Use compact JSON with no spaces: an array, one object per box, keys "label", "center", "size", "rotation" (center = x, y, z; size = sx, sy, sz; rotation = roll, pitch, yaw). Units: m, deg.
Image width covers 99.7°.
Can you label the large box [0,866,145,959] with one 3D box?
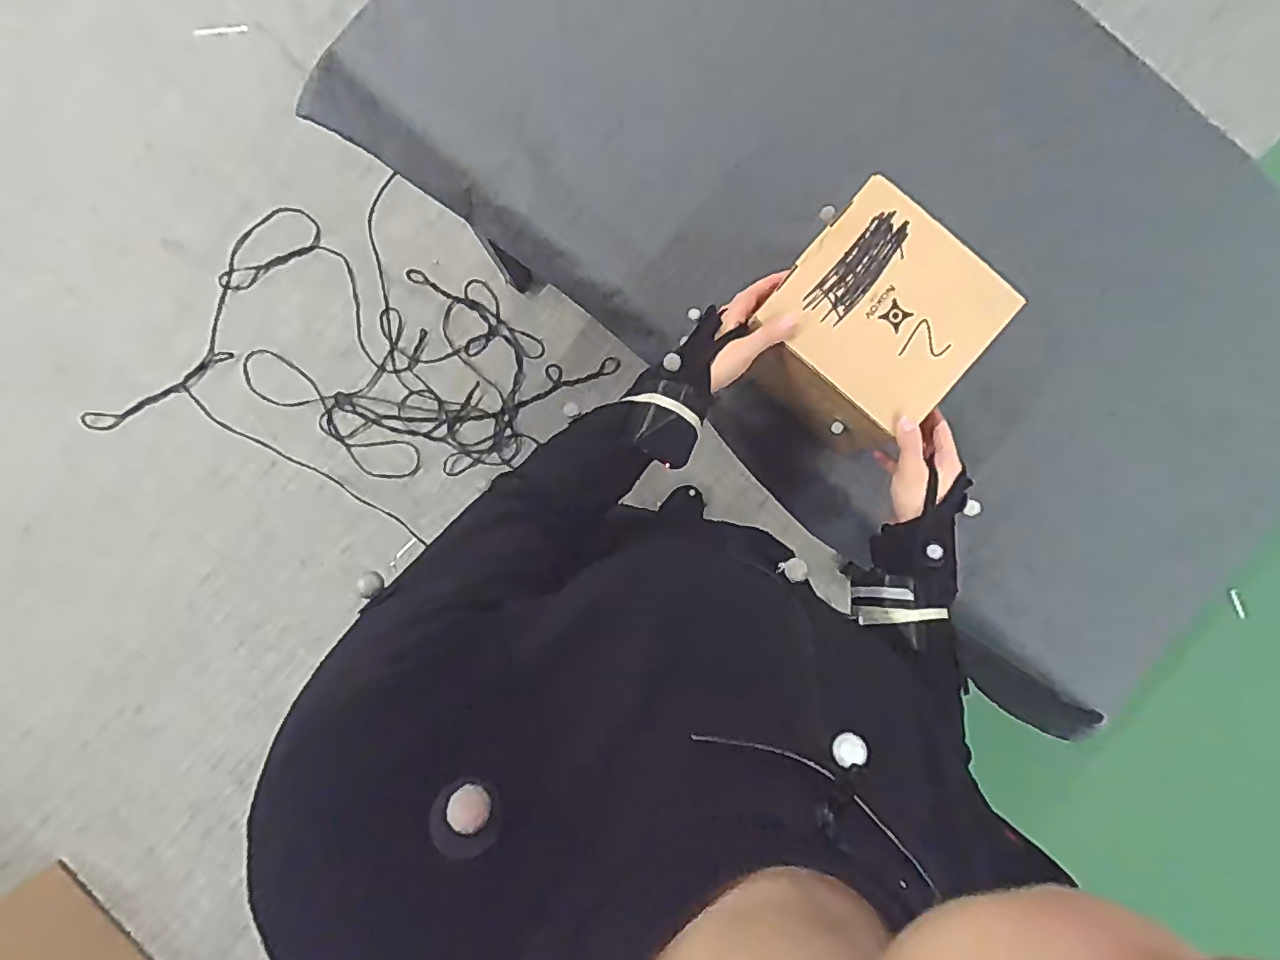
[{"label":"large box","center":[-1.433,1.200,1.200],"size":[0.320,0.320,0.408],"rotation":[-44,89,-1]}]
